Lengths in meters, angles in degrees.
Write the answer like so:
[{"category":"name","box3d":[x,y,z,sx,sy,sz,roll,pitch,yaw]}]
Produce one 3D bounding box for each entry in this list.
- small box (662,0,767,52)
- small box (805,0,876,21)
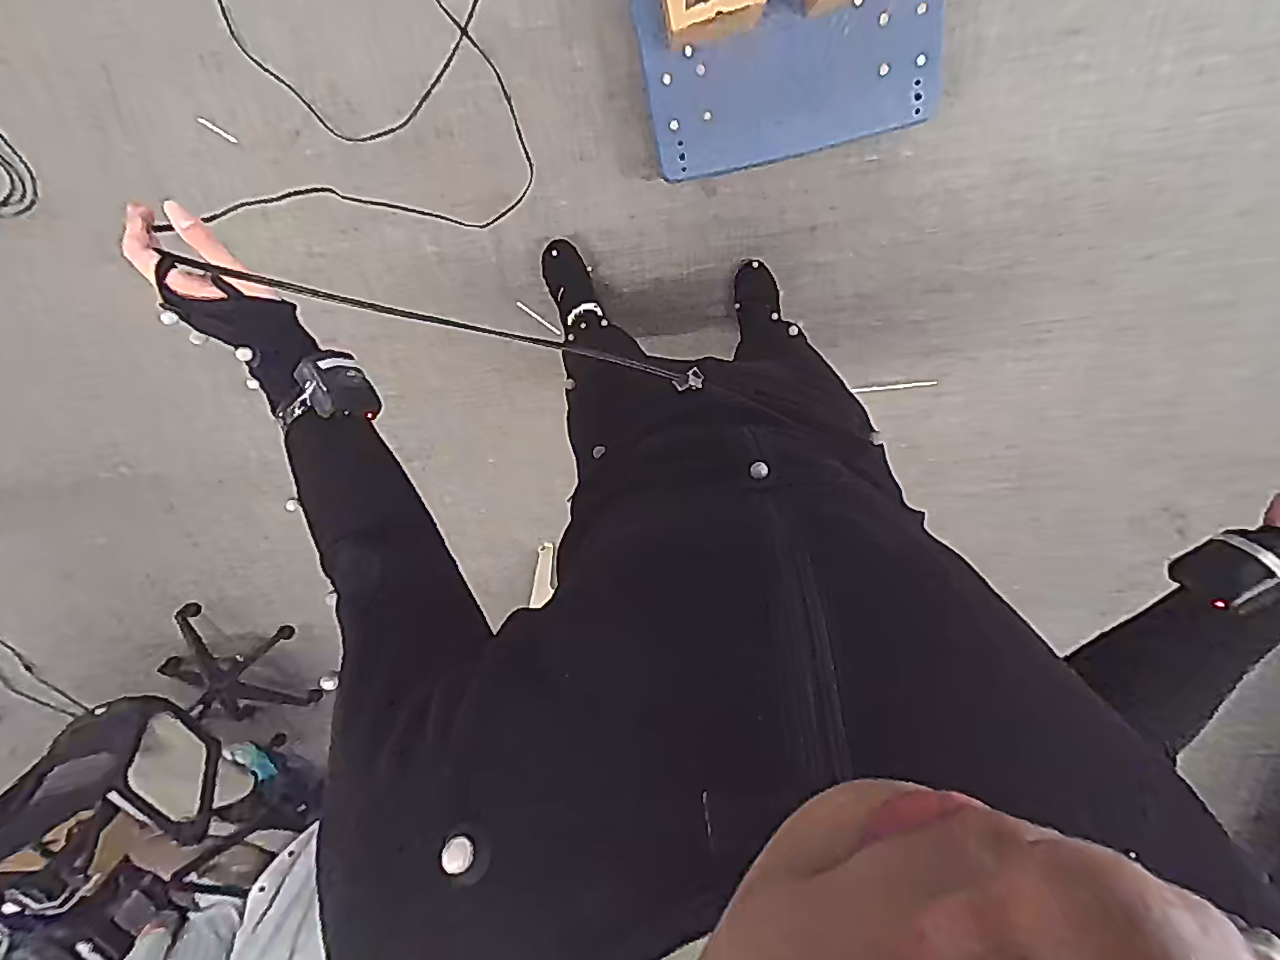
[{"category":"small box","box3d":[0.120,-0.883,0.945,0.168,0.176,0.179,-11,116,8]},{"category":"small box","box3d":[0.368,-0.925,0.908,0.168,0.176,0.179,-13,116,10]}]
